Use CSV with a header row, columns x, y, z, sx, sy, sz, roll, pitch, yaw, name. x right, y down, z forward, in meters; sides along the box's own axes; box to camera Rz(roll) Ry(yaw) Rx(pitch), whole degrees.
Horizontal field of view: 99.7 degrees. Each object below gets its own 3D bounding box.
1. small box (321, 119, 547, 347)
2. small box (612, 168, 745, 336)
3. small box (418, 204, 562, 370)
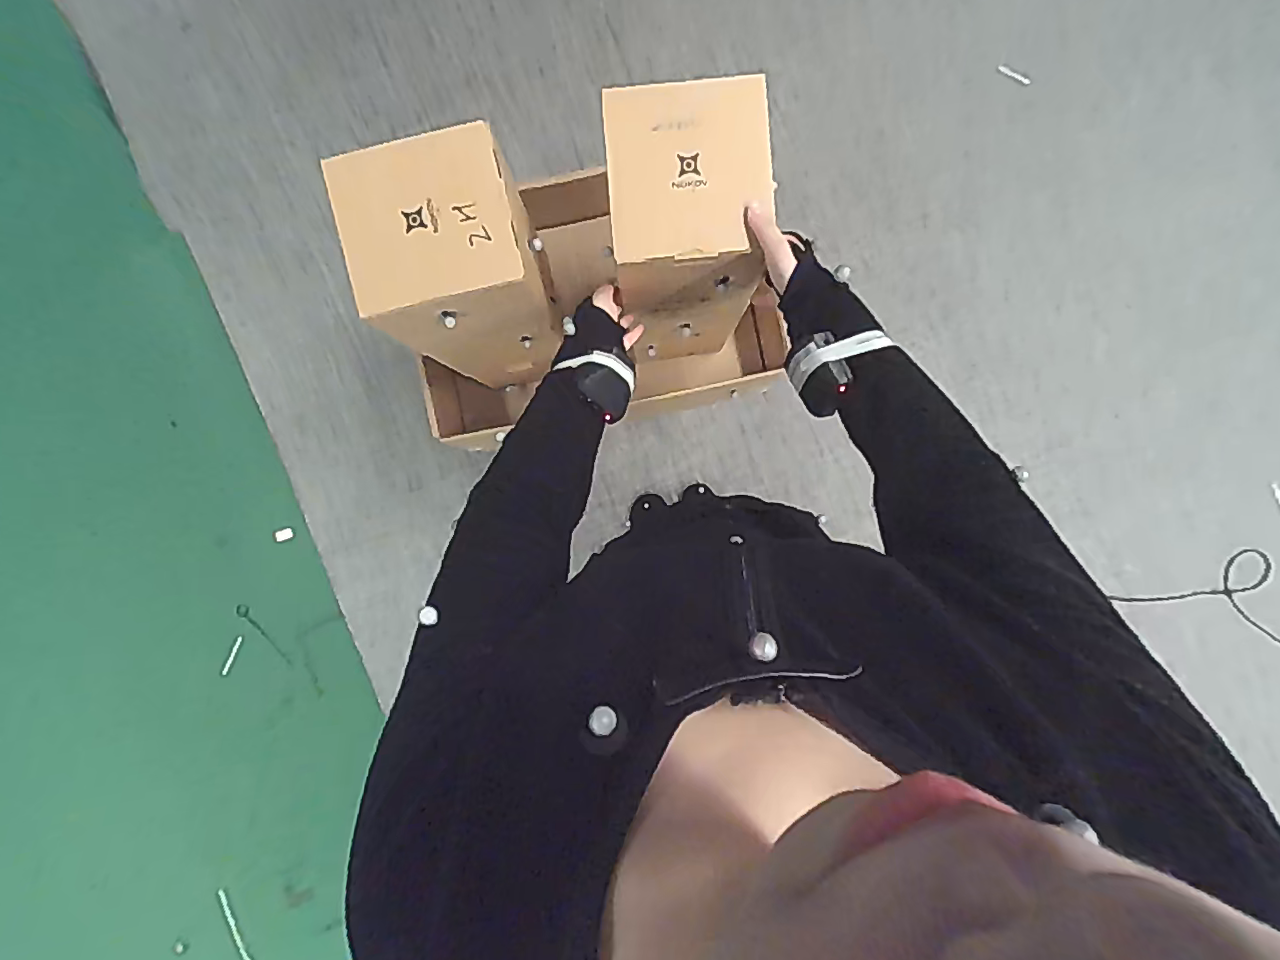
x,y,z,sx,sy,sz,roll,pitch,yaw,name
-0.220,-0.264,0.621,0.179,0.176,0.168,-13,91,0,small box
0.053,-0.313,0.782,0.168,0.176,0.179,-5,91,1,small box
-0.223,-0.268,0.787,0.179,0.176,0.168,-13,91,-1,small box
